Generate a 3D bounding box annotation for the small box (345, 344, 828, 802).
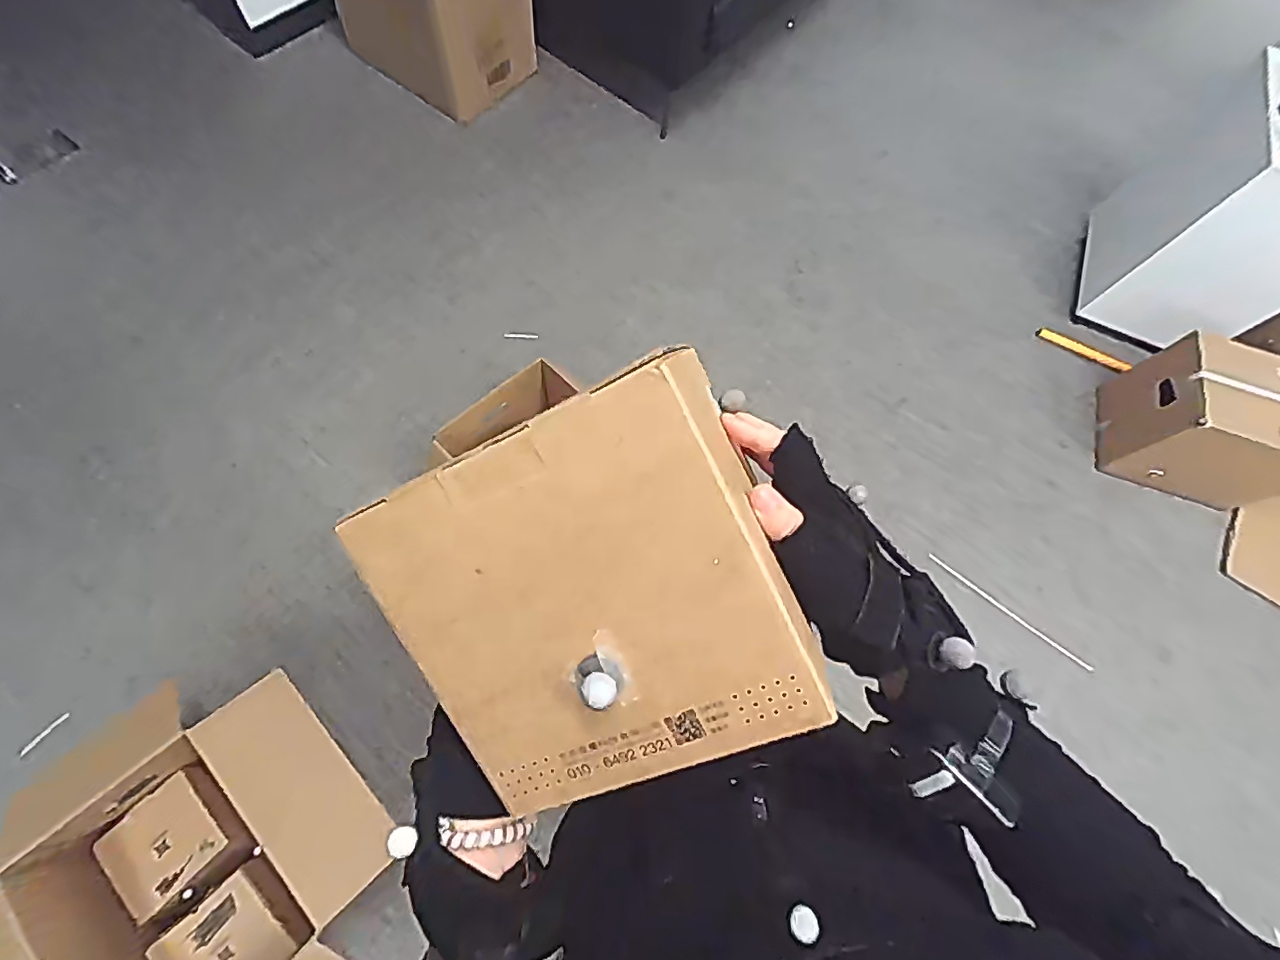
[{"bbox_3d":[-0.012,0.037,0.311,0.168,0.179,0.176,-25,100,14],"label":"small box"}]
